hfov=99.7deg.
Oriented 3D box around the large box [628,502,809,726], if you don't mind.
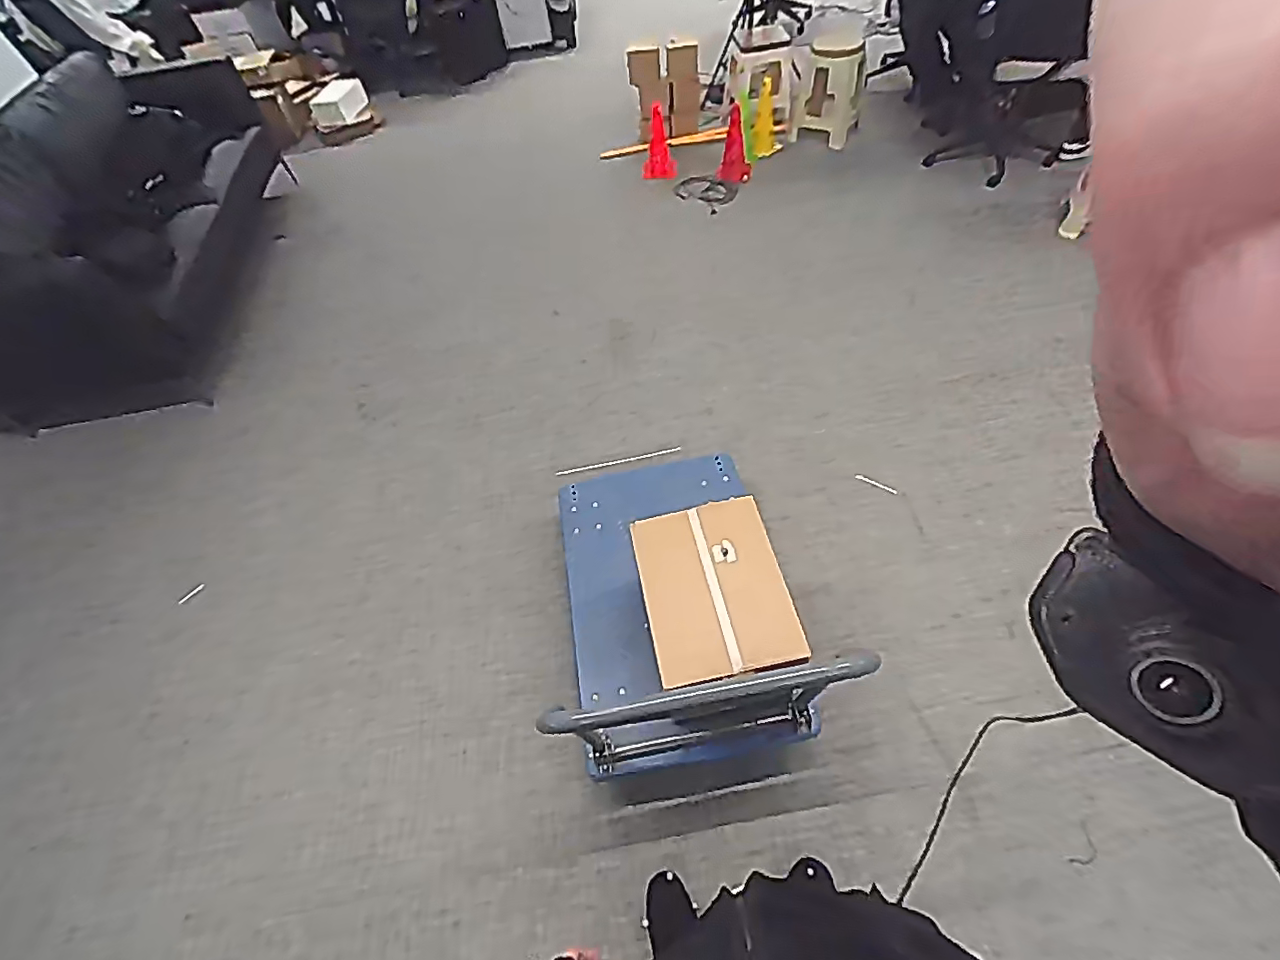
[{"bbox_3d":[0.175,0.328,1.320,0.320,0.320,0.408,-12,54,-2],"label":"large box"}]
